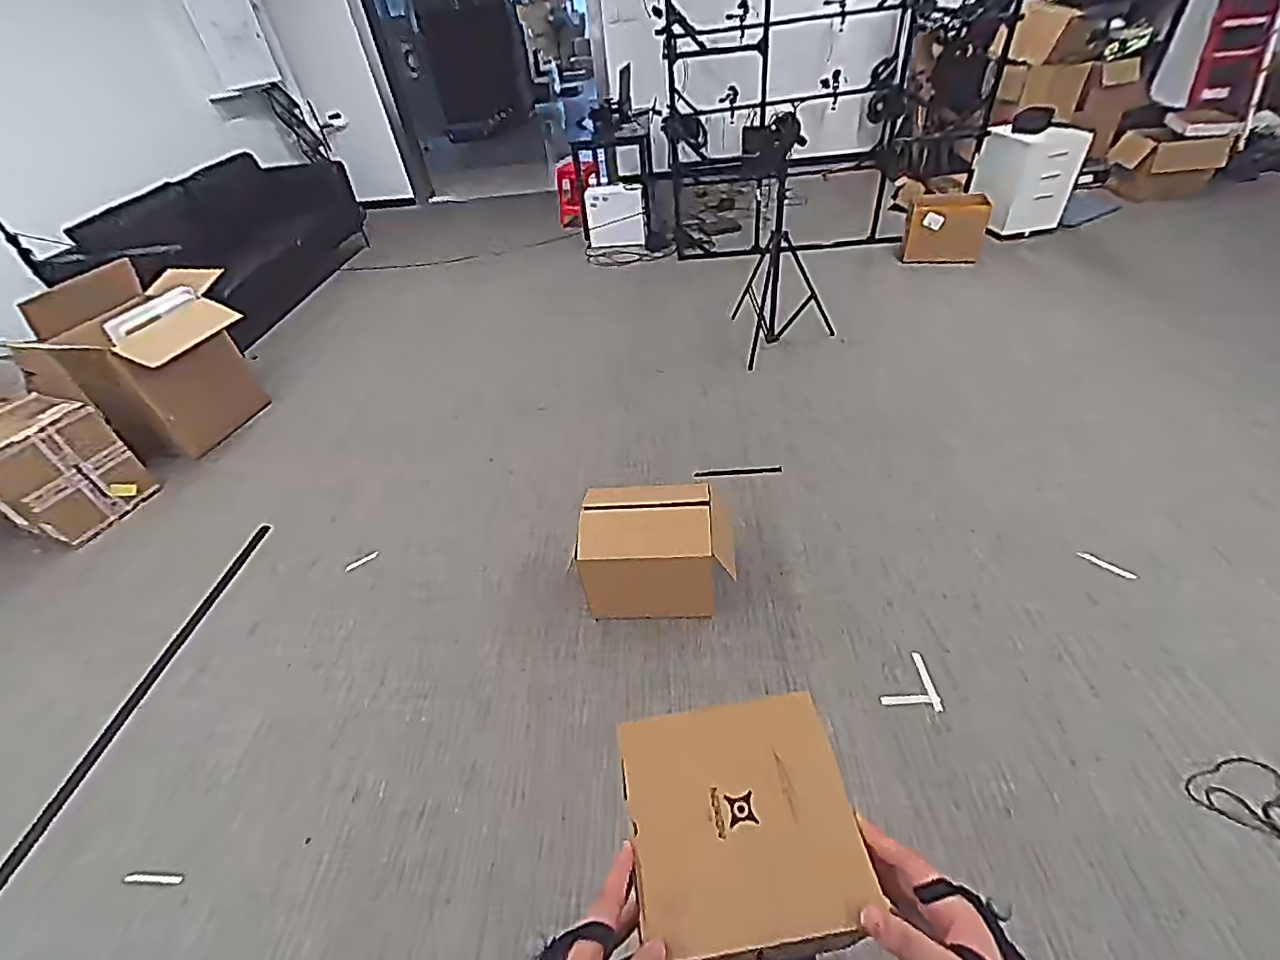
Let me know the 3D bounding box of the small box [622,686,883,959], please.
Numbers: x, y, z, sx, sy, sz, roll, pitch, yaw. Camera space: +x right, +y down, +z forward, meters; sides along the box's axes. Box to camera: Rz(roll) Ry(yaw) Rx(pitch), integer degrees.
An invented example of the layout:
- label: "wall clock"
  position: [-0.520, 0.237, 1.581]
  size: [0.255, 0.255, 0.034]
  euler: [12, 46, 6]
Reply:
- label: "small box"
  position: [0.088, 0.317, 0.494]
  size: [0.179, 0.176, 0.168]
  euler: [-10, 45, -2]
